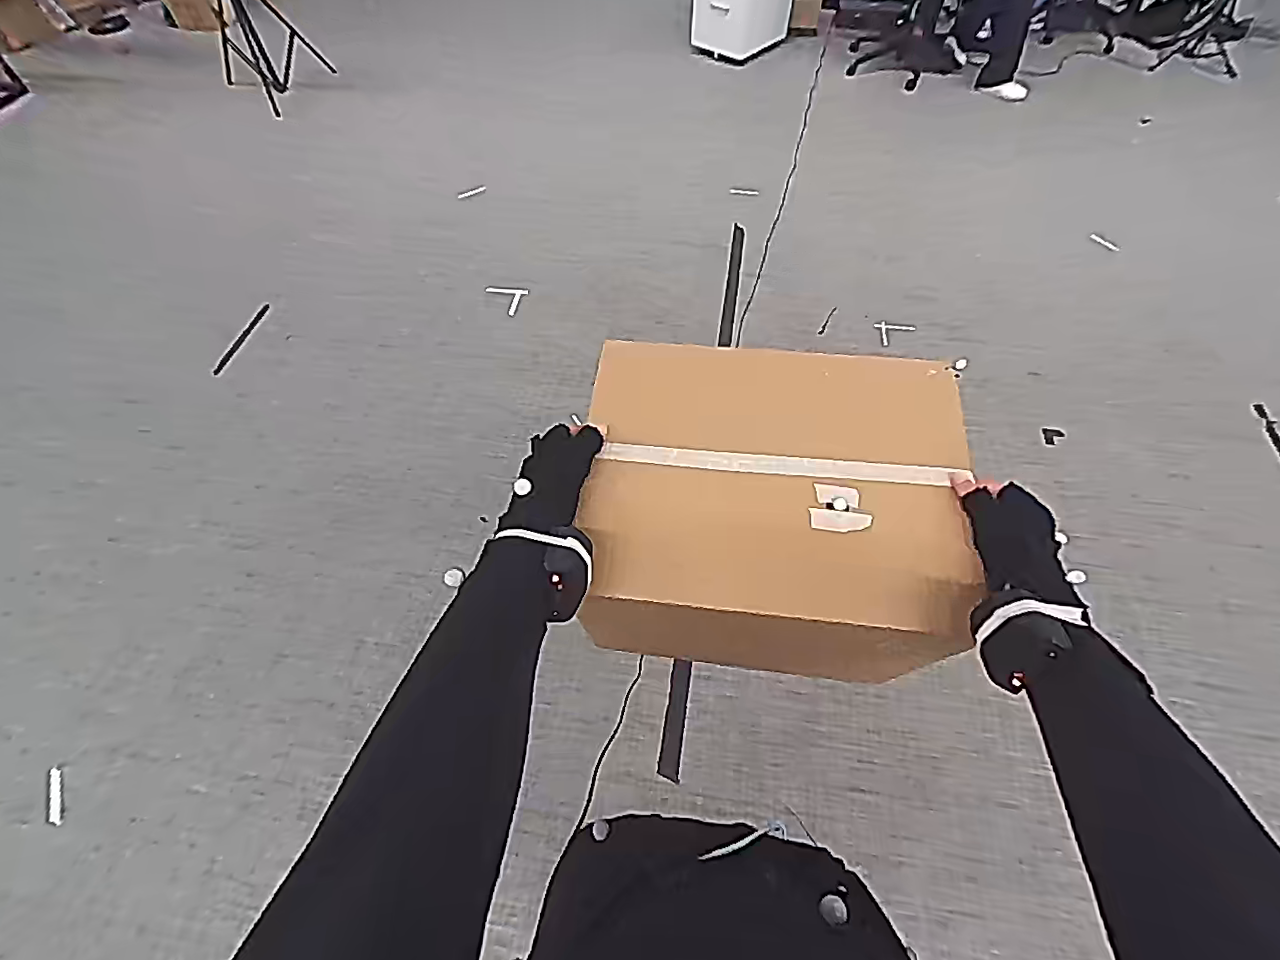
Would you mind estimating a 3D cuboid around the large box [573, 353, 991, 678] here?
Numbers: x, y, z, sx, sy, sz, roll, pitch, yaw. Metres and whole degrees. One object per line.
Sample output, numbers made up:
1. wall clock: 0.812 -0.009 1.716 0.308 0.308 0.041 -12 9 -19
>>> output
1. large box: 0.152 0.060 0.713 0.408 0.320 0.320 5 64 6
